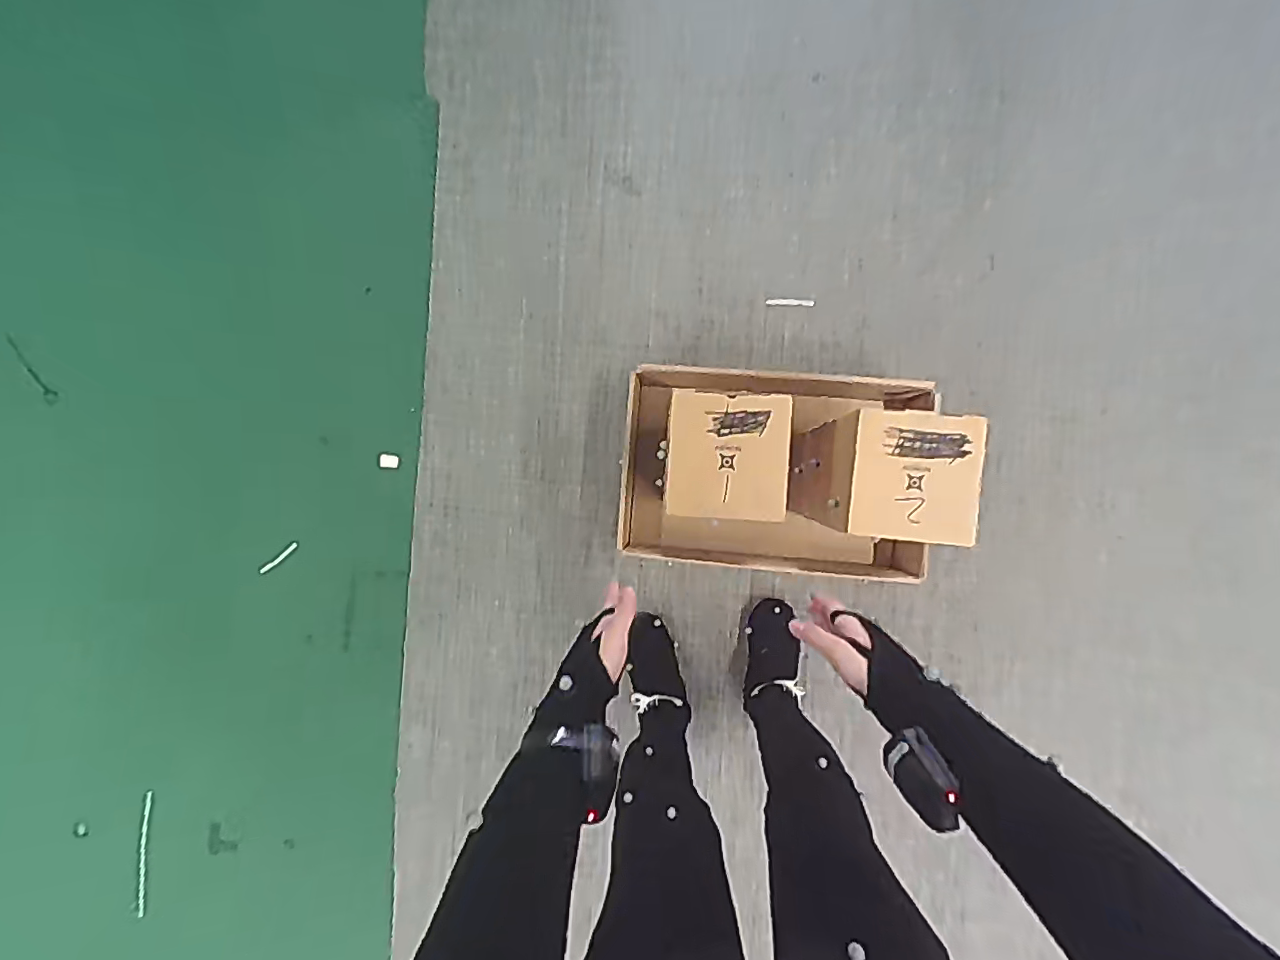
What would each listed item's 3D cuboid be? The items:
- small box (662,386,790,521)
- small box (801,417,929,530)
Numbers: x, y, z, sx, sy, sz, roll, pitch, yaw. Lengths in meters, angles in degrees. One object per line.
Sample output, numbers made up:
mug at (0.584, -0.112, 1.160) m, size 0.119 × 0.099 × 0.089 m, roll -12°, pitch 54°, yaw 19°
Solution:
small box at (0.121, -0.035, 0.814) m, size 0.168 × 0.176 × 0.179 m, roll 4°, pitch 90°, yaw 4°
small box at (0.388, -0.009, 0.960) m, size 0.168 × 0.176 × 0.179 m, roll 5°, pitch 89°, yaw 6°
